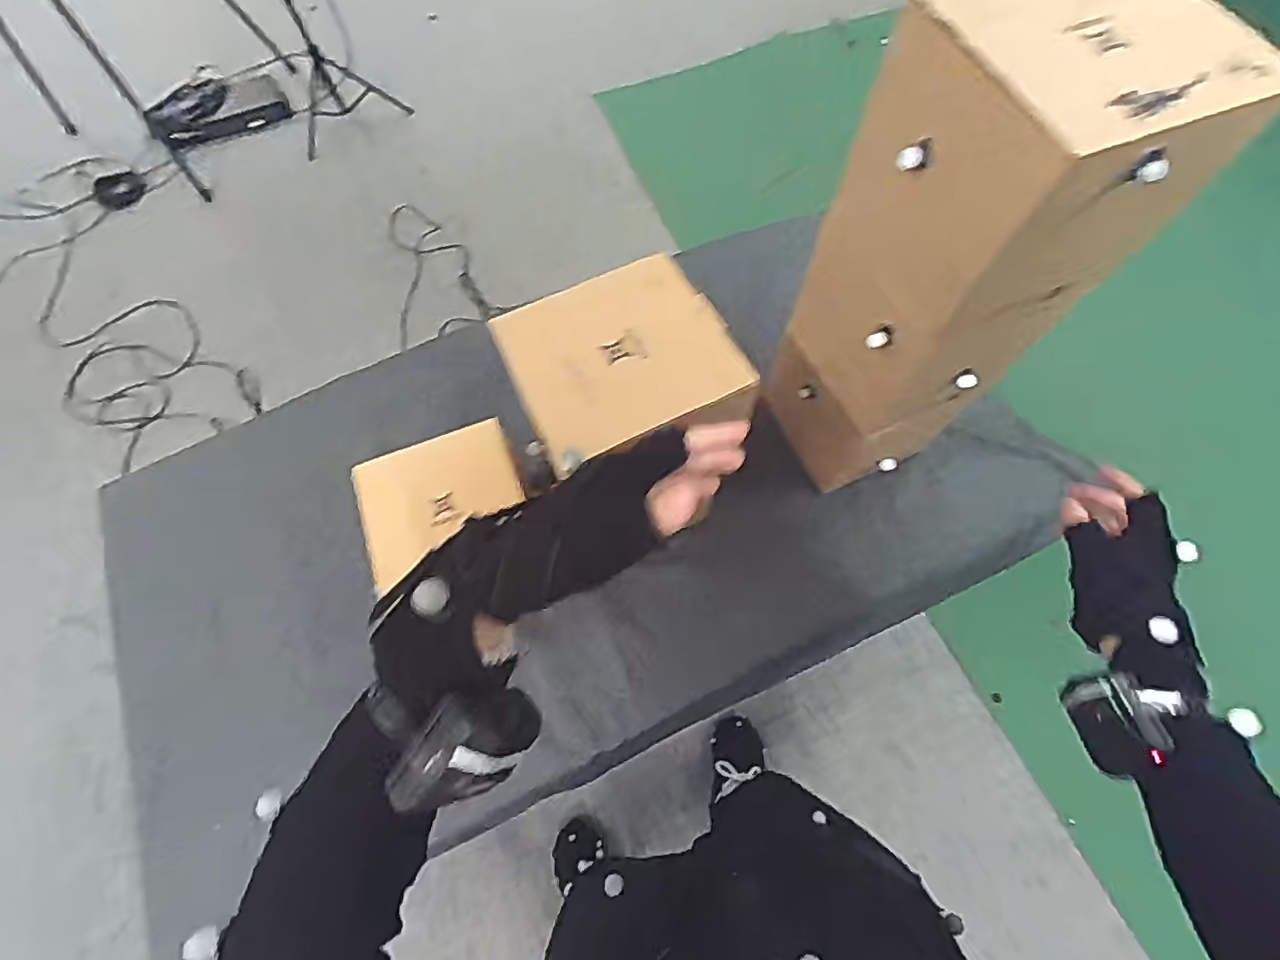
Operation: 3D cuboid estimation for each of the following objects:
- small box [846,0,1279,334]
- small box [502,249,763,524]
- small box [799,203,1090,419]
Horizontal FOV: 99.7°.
[{"bbox_3d":[0.288,-0.247,0.414,0.168,0.176,0.179,-20,67,-6],"label":"small box"},{"bbox_3d":[-0.009,-0.081,0.531,0.179,0.176,0.168,-26,68,-9],"label":"small box"},{"bbox_3d":[0.294,-0.184,0.566,0.168,0.176,0.179,-21,68,-7],"label":"small box"}]
